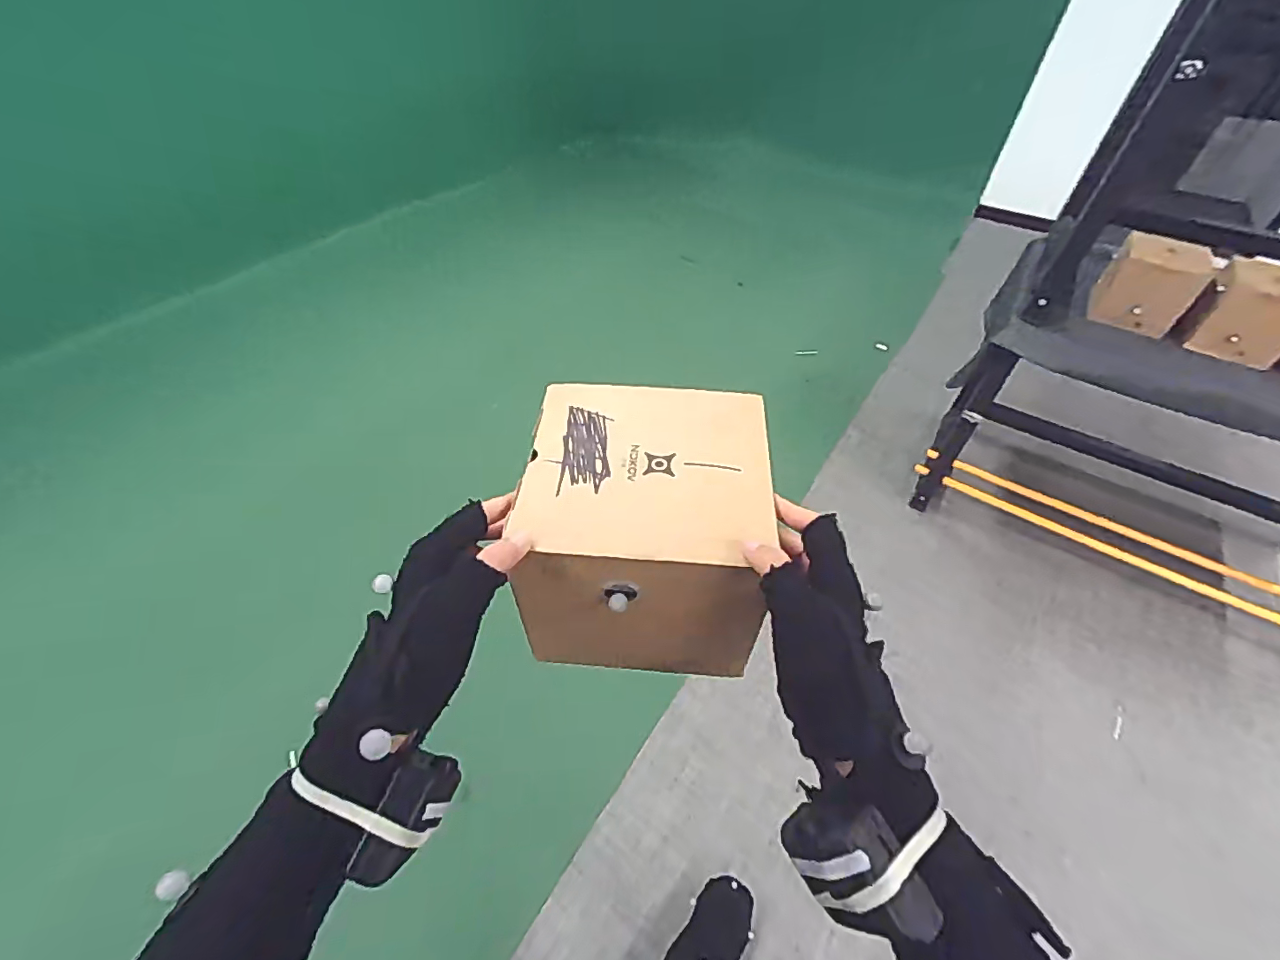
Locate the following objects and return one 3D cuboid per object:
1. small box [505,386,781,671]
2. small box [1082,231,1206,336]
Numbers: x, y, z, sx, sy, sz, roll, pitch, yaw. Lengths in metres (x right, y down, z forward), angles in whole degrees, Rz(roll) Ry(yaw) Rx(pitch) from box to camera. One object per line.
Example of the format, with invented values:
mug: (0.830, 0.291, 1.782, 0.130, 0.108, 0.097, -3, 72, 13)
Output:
small box: (0.007, 0.043, 0.446, 0.179, 0.176, 0.168, 4, 48, 2)
small box: (1.252, -0.490, 1.353, 0.168, 0.176, 0.179, 26, 53, 21)
